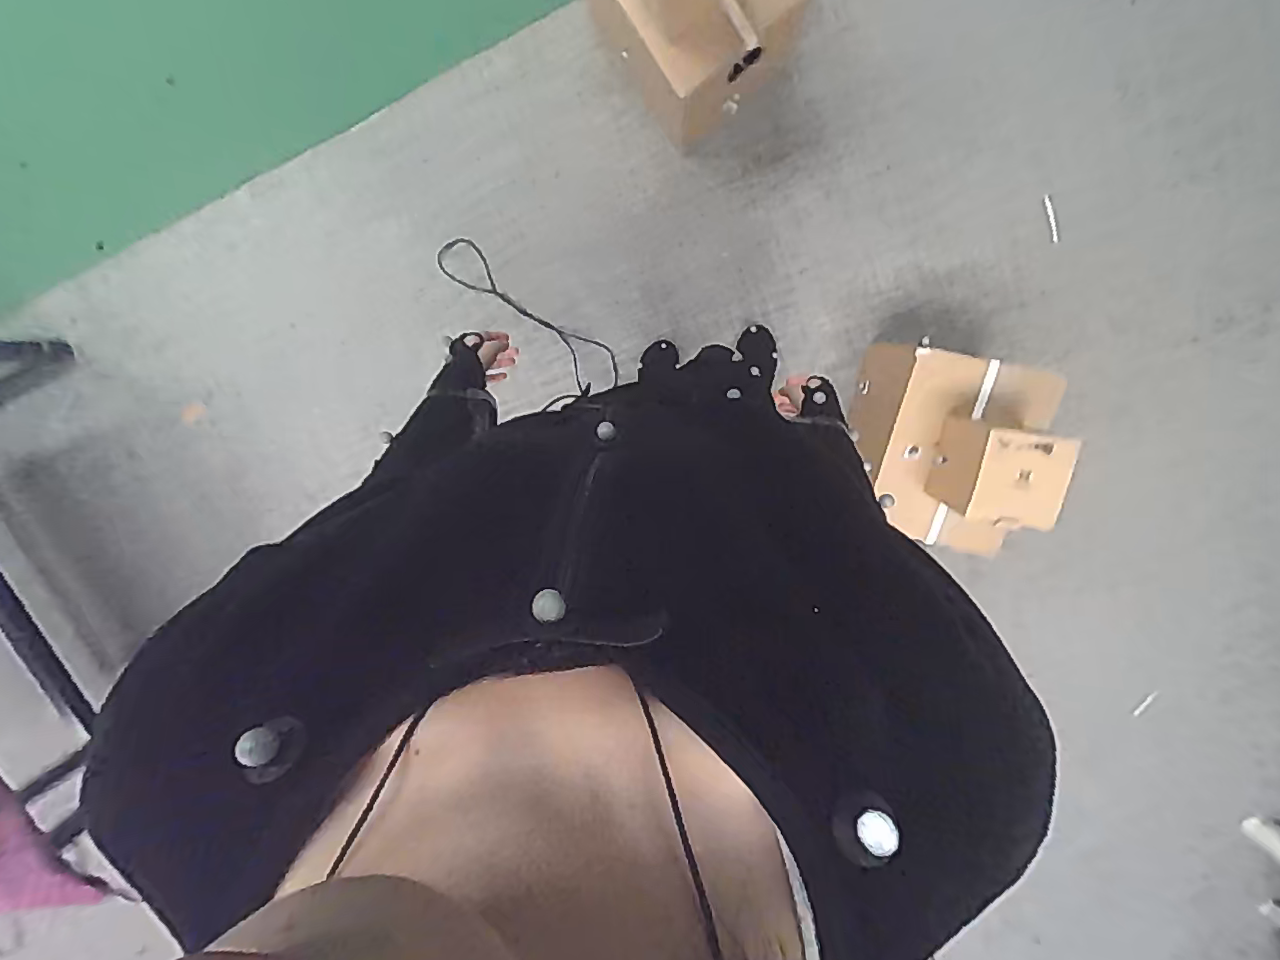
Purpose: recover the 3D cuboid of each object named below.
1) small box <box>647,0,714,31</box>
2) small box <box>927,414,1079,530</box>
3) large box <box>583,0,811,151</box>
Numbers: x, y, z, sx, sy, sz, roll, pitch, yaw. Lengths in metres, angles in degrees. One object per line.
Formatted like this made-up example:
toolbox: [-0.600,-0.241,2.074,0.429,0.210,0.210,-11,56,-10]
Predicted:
small box: [0.070,-0.899,0.883,0.179,0.176,0.168,-29,101,11]
small box: [0.698,-0.022,1.067,0.168,0.176,0.179,8,106,0]
large box: [0.096,-0.998,1.110,0.320,0.320,0.408,-35,98,10]
